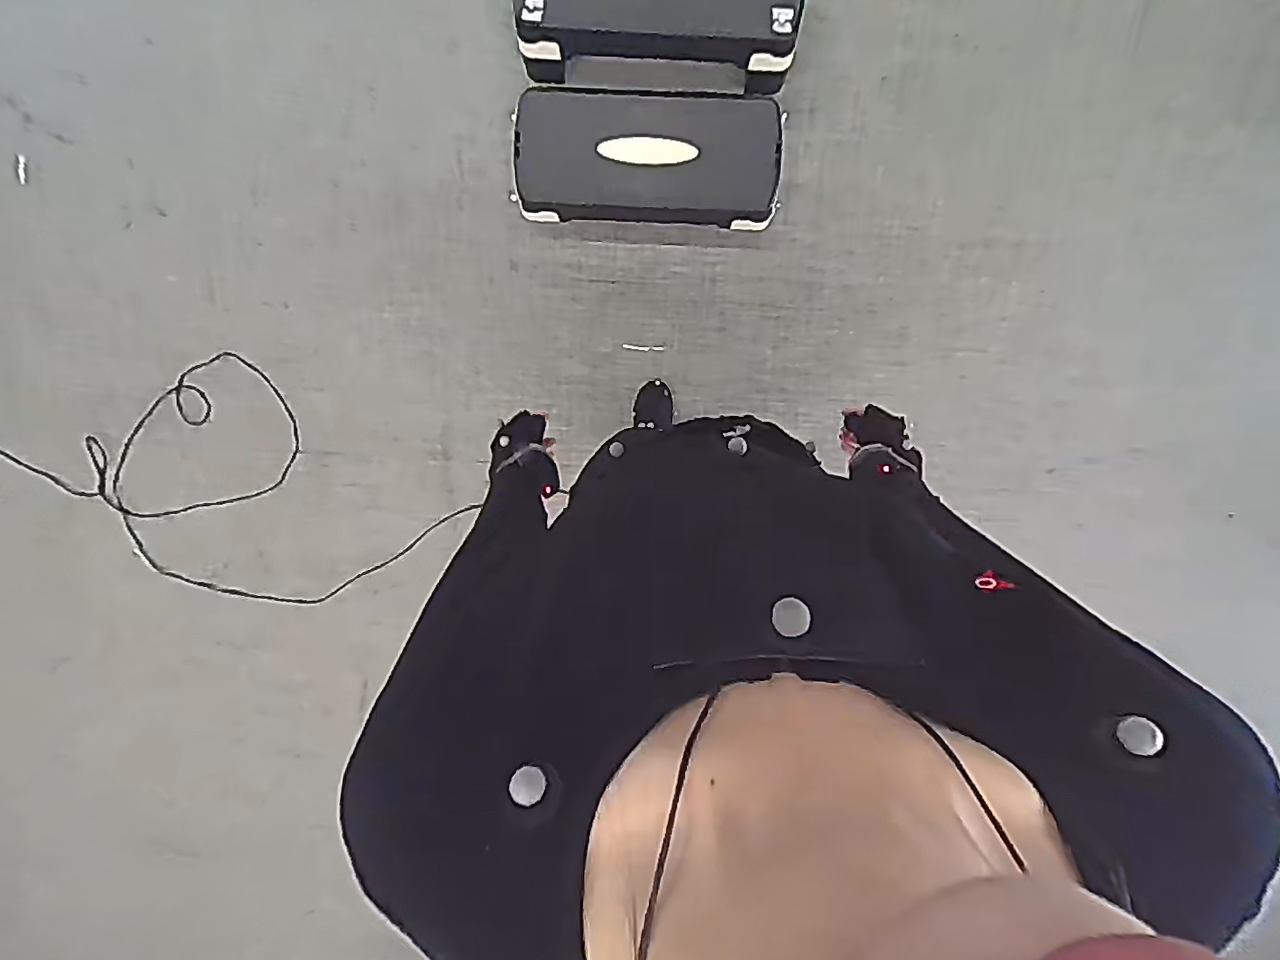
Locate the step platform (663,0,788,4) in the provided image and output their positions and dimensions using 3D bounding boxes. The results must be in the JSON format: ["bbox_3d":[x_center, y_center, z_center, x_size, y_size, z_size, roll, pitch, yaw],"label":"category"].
[{"bbox_3d":[0.014,-1.159,1.065,0.684,0.204,0.286,3,97,1],"label":"step platform"}]
